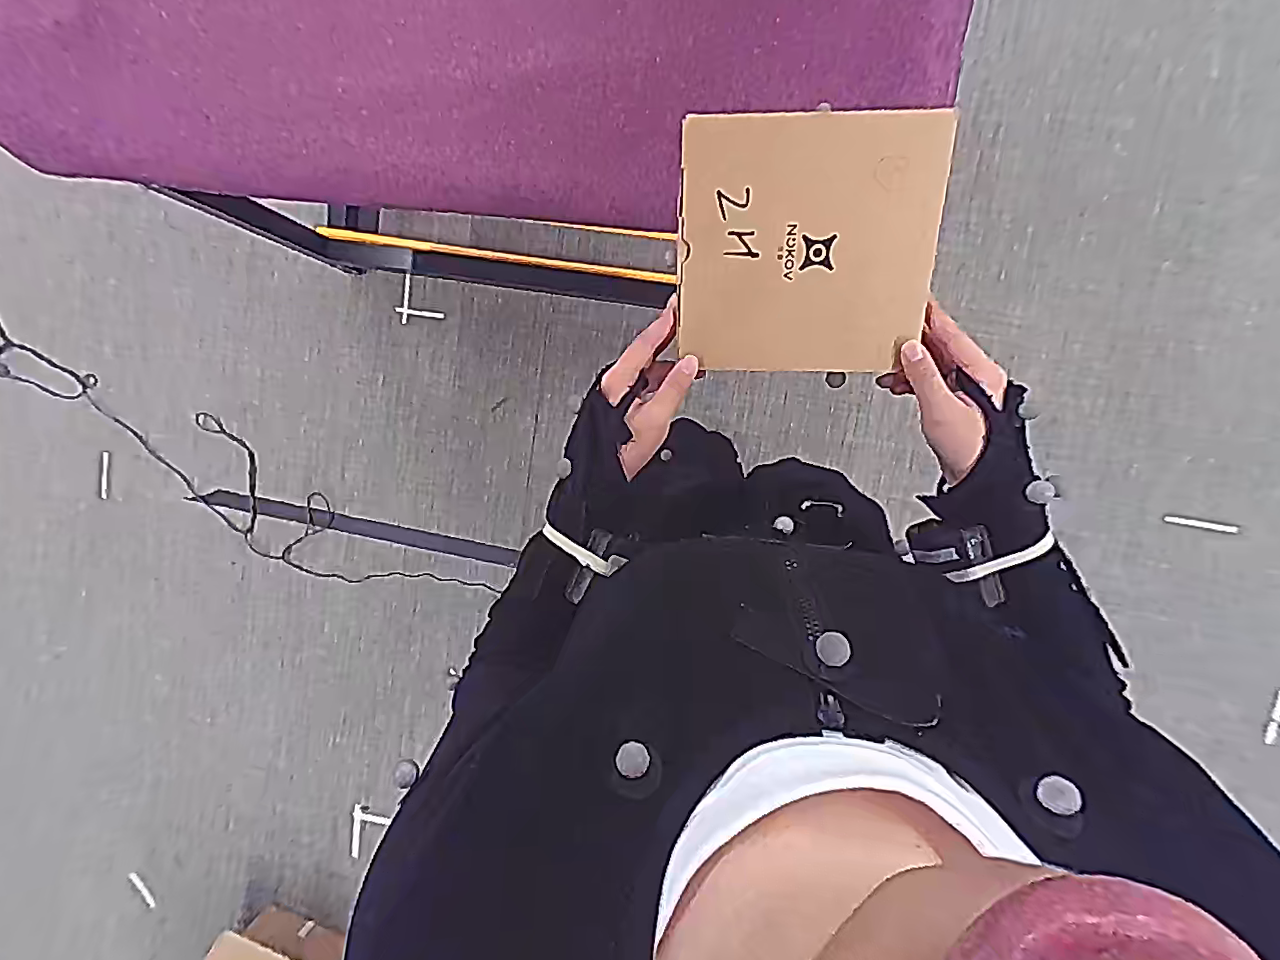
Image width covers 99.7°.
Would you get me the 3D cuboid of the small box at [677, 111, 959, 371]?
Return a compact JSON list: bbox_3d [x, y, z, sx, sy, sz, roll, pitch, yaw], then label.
[{"bbox_3d":[0.122,-0.188,0.450,0.179,0.176,0.168,2,109,5],"label":"small box"}]
